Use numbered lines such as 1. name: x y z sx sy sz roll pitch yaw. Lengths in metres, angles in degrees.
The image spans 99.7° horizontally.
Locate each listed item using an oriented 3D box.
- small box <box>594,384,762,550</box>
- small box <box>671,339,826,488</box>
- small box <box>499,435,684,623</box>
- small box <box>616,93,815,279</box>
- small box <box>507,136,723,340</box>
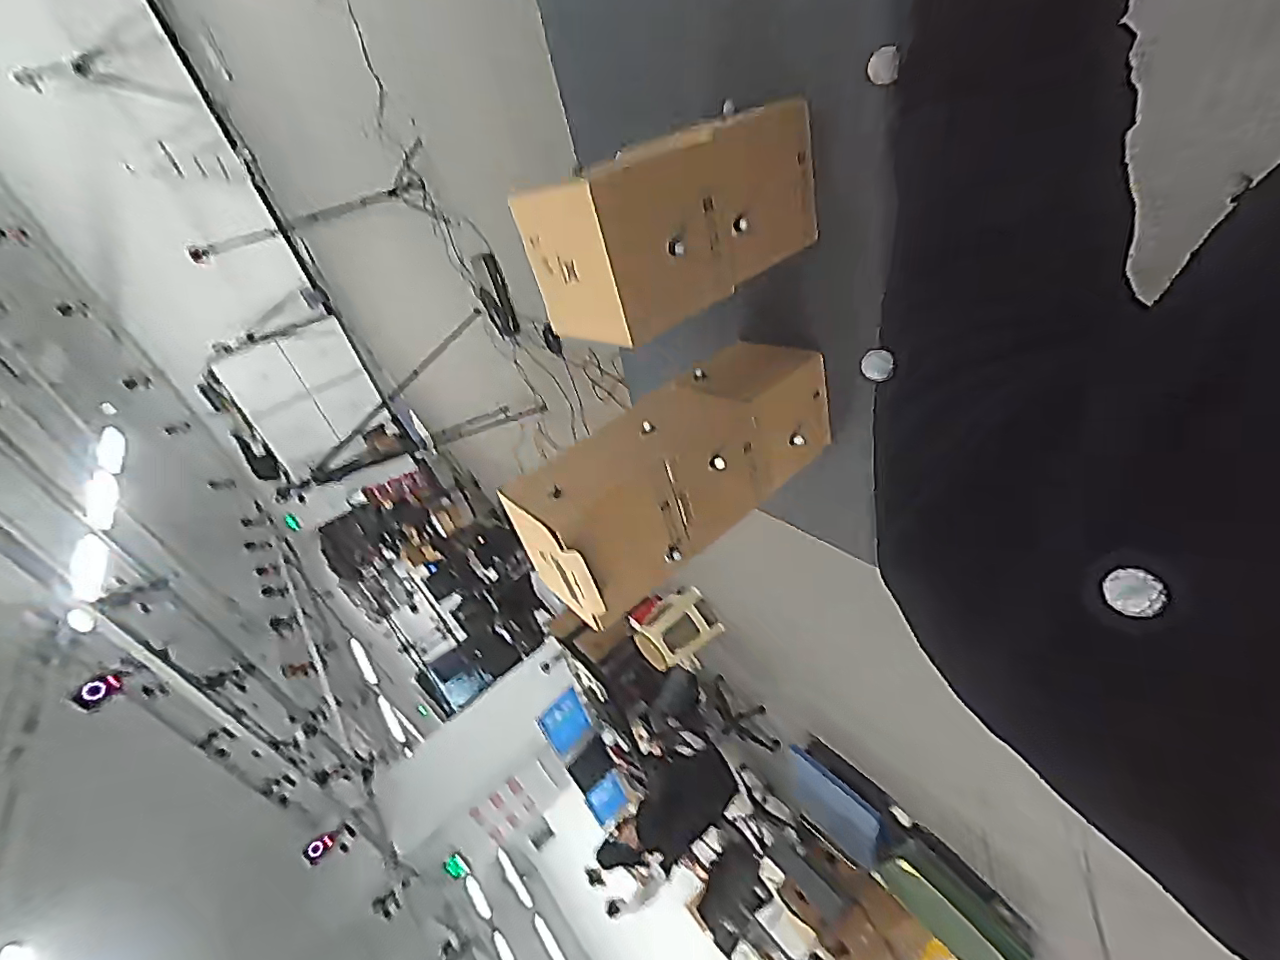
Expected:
1. small box: 0.066 -0.030 0.811 0.179 0.176 0.168 25 141 50
2. small box: 0.185 -0.117 0.879 0.179 0.176 0.168 24 142 48
3. small box: -0.058 0.055 0.743 0.179 0.176 0.168 23 139 51
4. small box: 0.101 -0.375 0.702 0.179 0.176 0.168 26 143 47
5. small box: -0.019 -0.282 0.635 0.179 0.176 0.168 26 142 47
